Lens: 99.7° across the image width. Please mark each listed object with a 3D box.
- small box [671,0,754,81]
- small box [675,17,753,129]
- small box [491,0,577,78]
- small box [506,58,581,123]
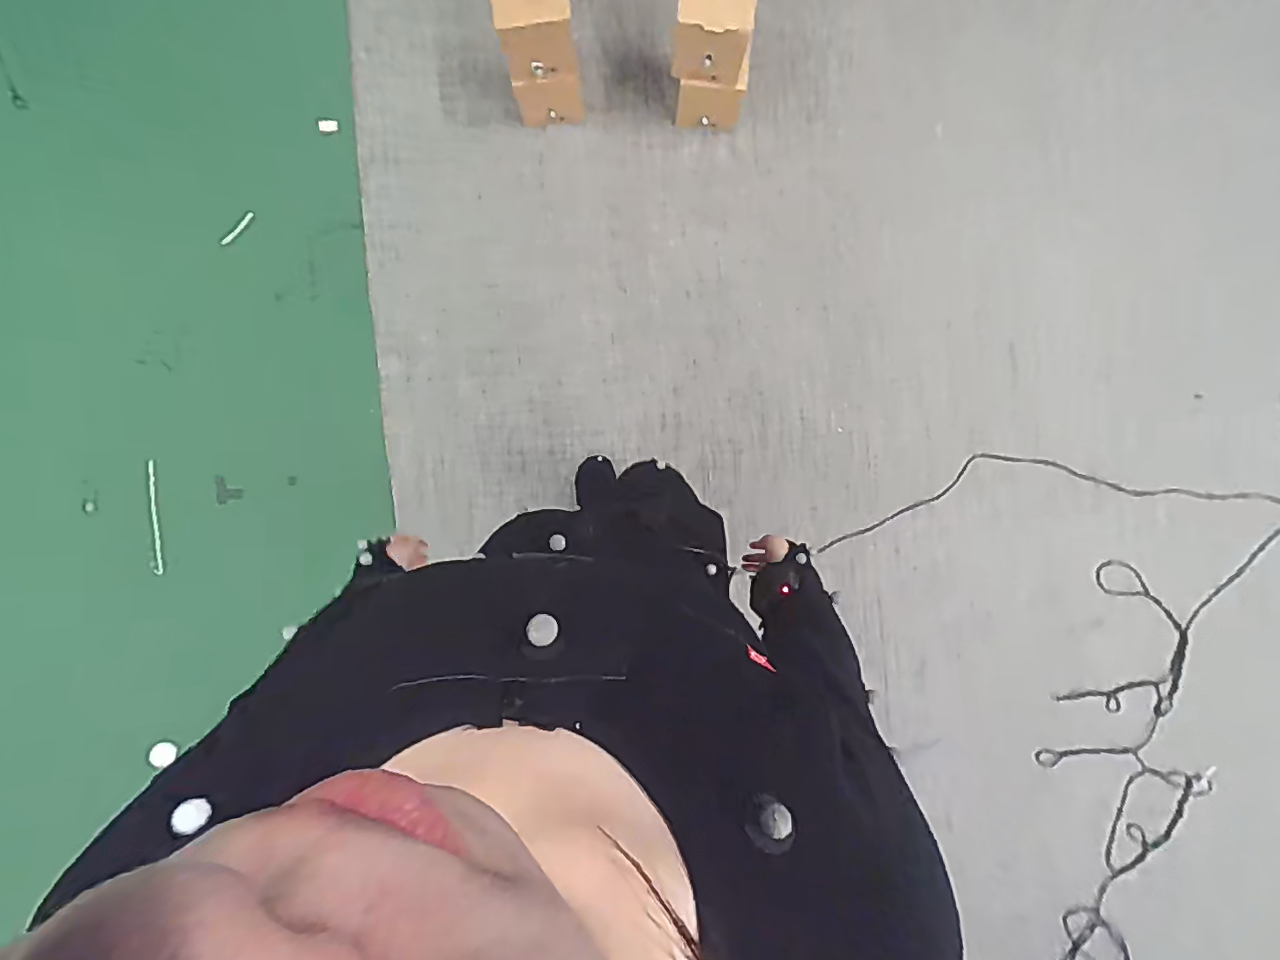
[{"bbox_3d":[0.165,-1.047,1.216,0.168,0.176,0.179,9,92,-1],"label":"small box"},{"bbox_3d":[0.181,-1.041,1.380,0.168,0.176,0.179,5,92,-1],"label":"small box"},{"bbox_3d":[-0.239,-1.054,1.210,0.168,0.176,0.179,-8,92,0],"label":"small box"},{"bbox_3d":[-0.247,-1.053,1.371,0.168,0.176,0.179,-9,92,-1],"label":"small box"}]
